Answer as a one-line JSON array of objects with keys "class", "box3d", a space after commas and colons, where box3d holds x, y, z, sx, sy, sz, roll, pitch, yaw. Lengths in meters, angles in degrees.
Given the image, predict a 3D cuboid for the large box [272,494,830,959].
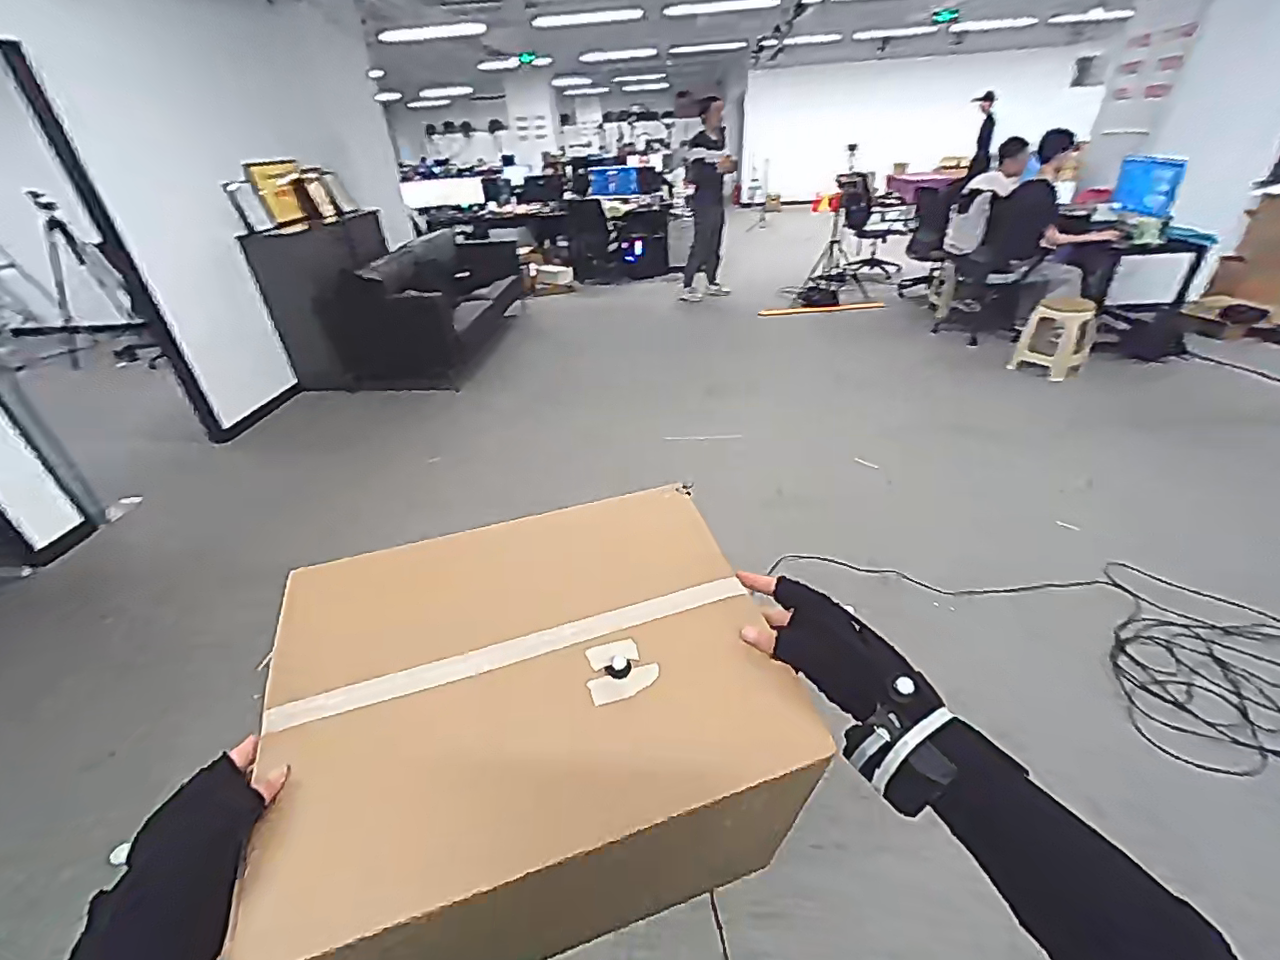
[{"class": "large box", "box3d": [-0.084, 0.266, 0.573, 0.408, 0.320, 0.320, -13, 44, -14]}]
